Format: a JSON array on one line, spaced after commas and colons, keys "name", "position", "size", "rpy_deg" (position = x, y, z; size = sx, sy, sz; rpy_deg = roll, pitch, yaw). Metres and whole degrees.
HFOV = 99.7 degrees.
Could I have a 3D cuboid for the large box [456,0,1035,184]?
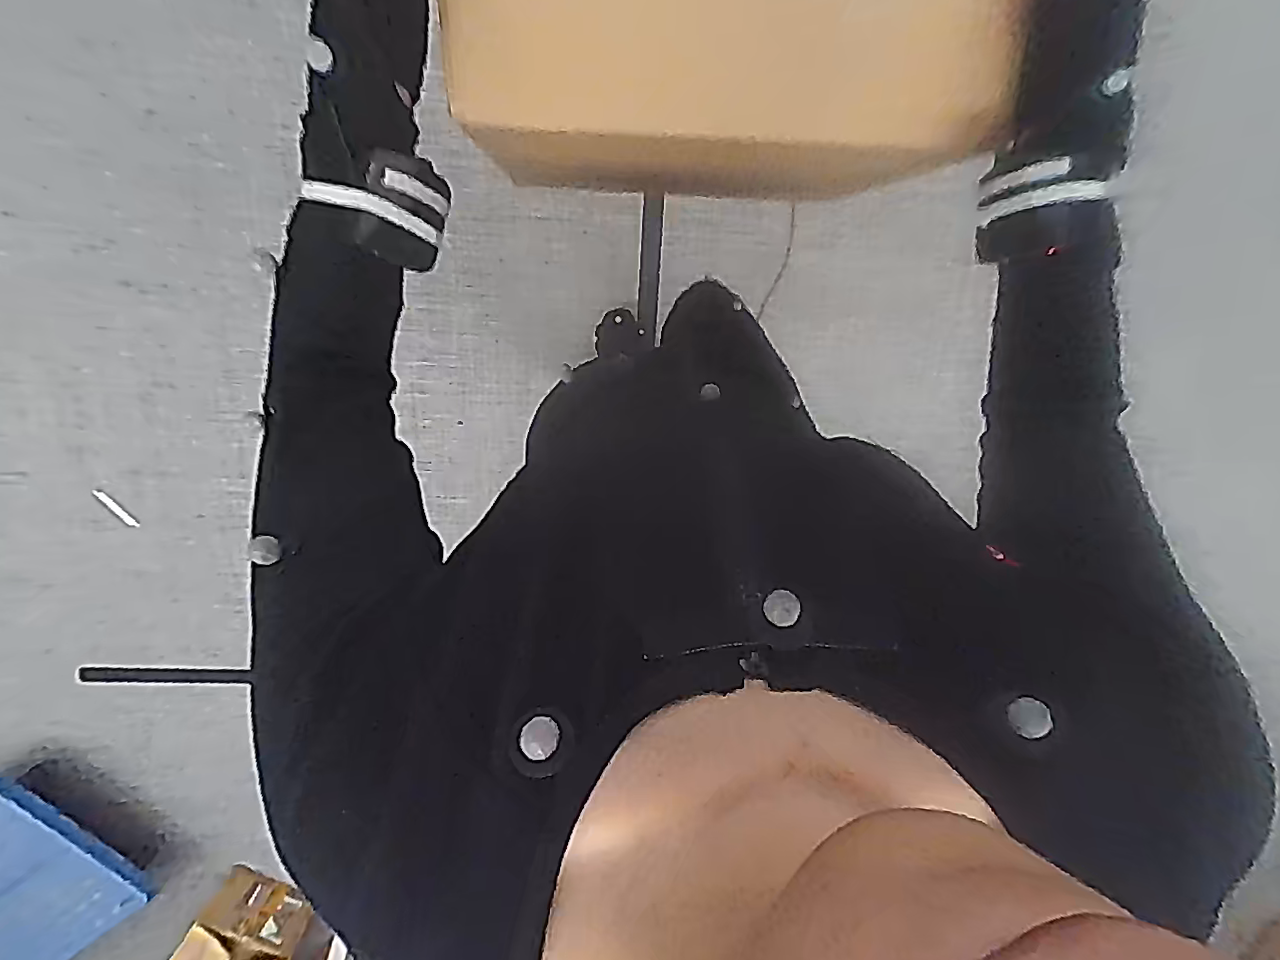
[{"name": "large box", "position": [0.063, -0.455, 0.469], "size": [0.408, 0.320, 0.320], "rpy_deg": [-1, 112, -5]}]
